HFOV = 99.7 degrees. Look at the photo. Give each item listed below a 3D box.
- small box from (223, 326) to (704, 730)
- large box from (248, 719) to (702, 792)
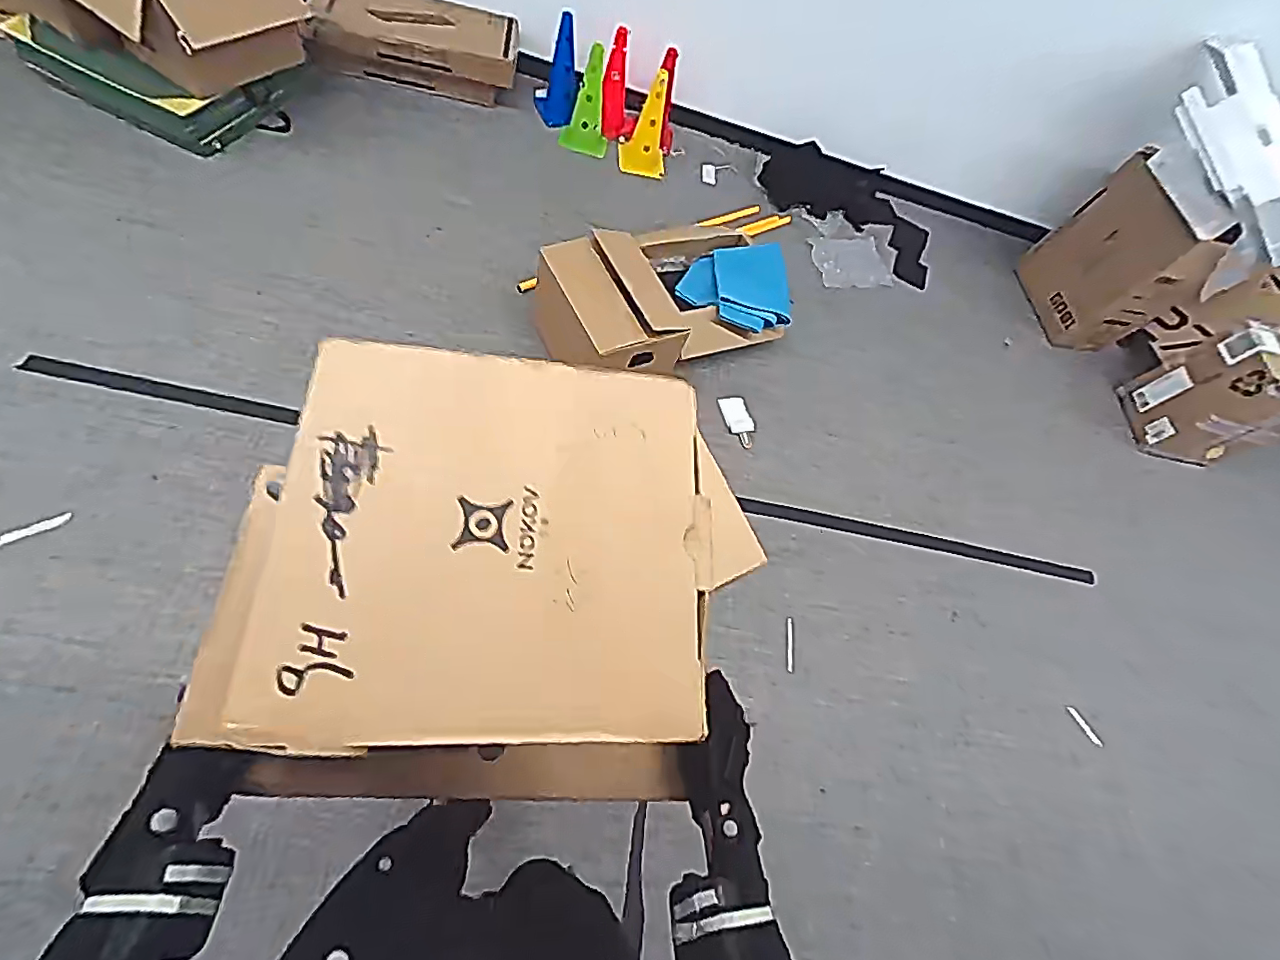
[{"bbox_3d":[-0.075,0.044,0.303,0.179,0.176,0.168,6,67,-12],"label":"small box"},{"bbox_3d":[-0.167,0.188,0.674,0.408,0.320,0.320,8,68,-13],"label":"large box"}]
